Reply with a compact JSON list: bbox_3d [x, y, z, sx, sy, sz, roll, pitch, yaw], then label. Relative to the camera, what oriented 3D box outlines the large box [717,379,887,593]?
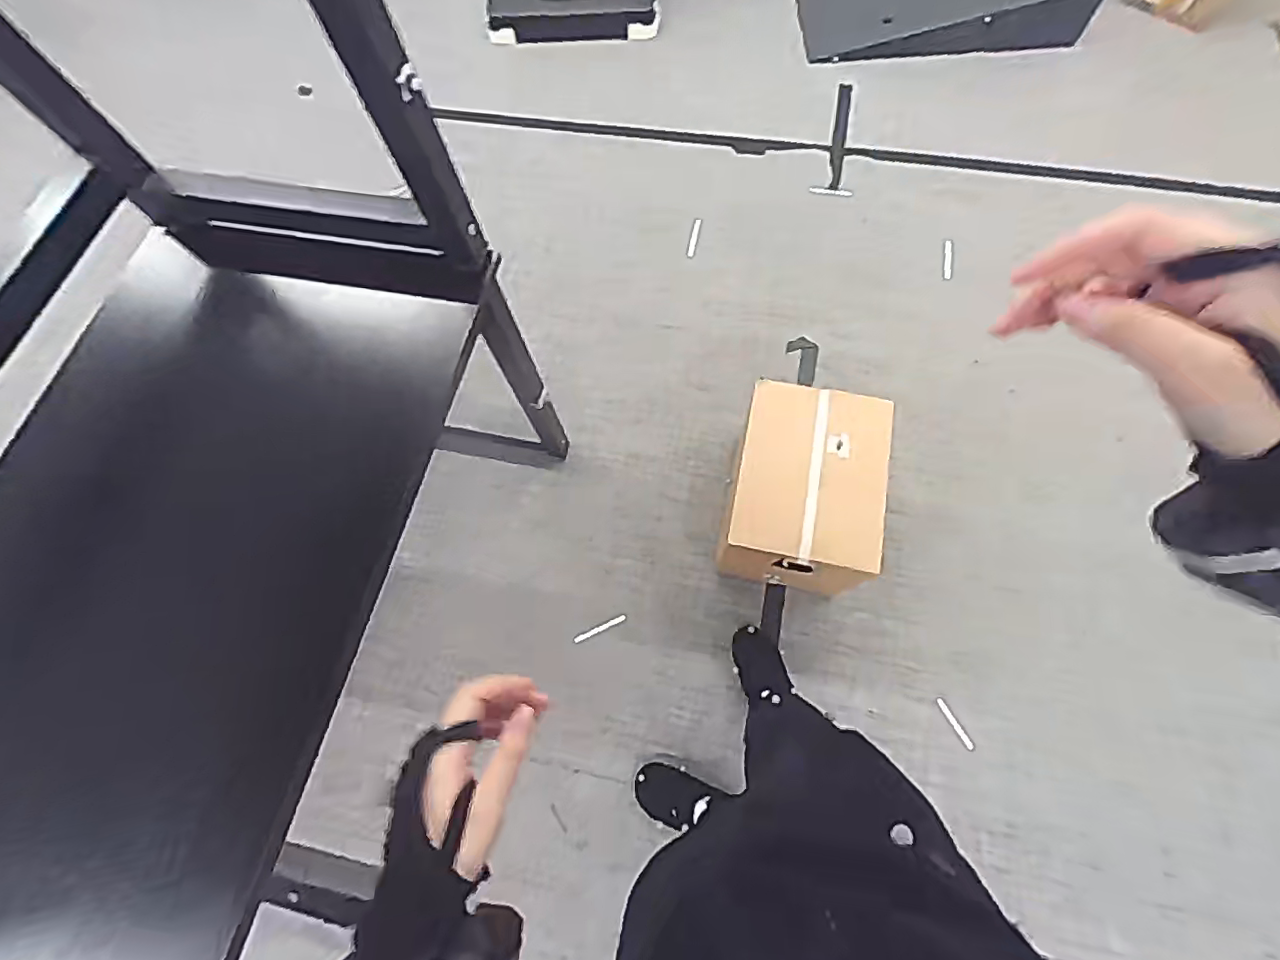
[{"bbox_3d":[0.374,0.028,1.304,0.320,0.320,0.408,11,70,6],"label":"large box"}]
